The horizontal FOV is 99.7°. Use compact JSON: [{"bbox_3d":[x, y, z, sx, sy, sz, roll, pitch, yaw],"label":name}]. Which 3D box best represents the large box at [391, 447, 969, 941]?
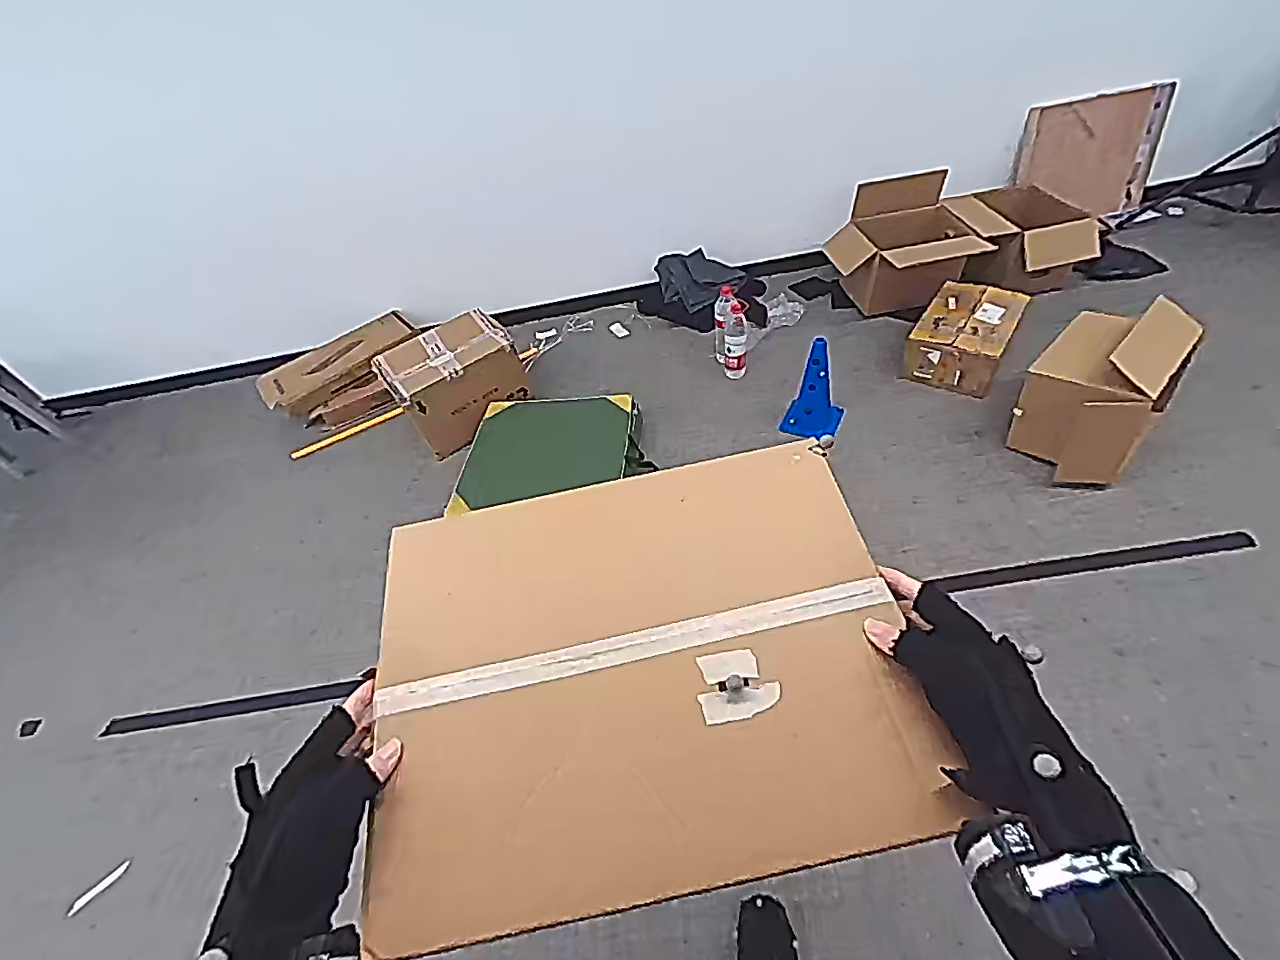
[{"bbox_3d":[0.015,0.215,0.561,0.408,0.320,0.320,-12,57,-1],"label":"large box"}]
